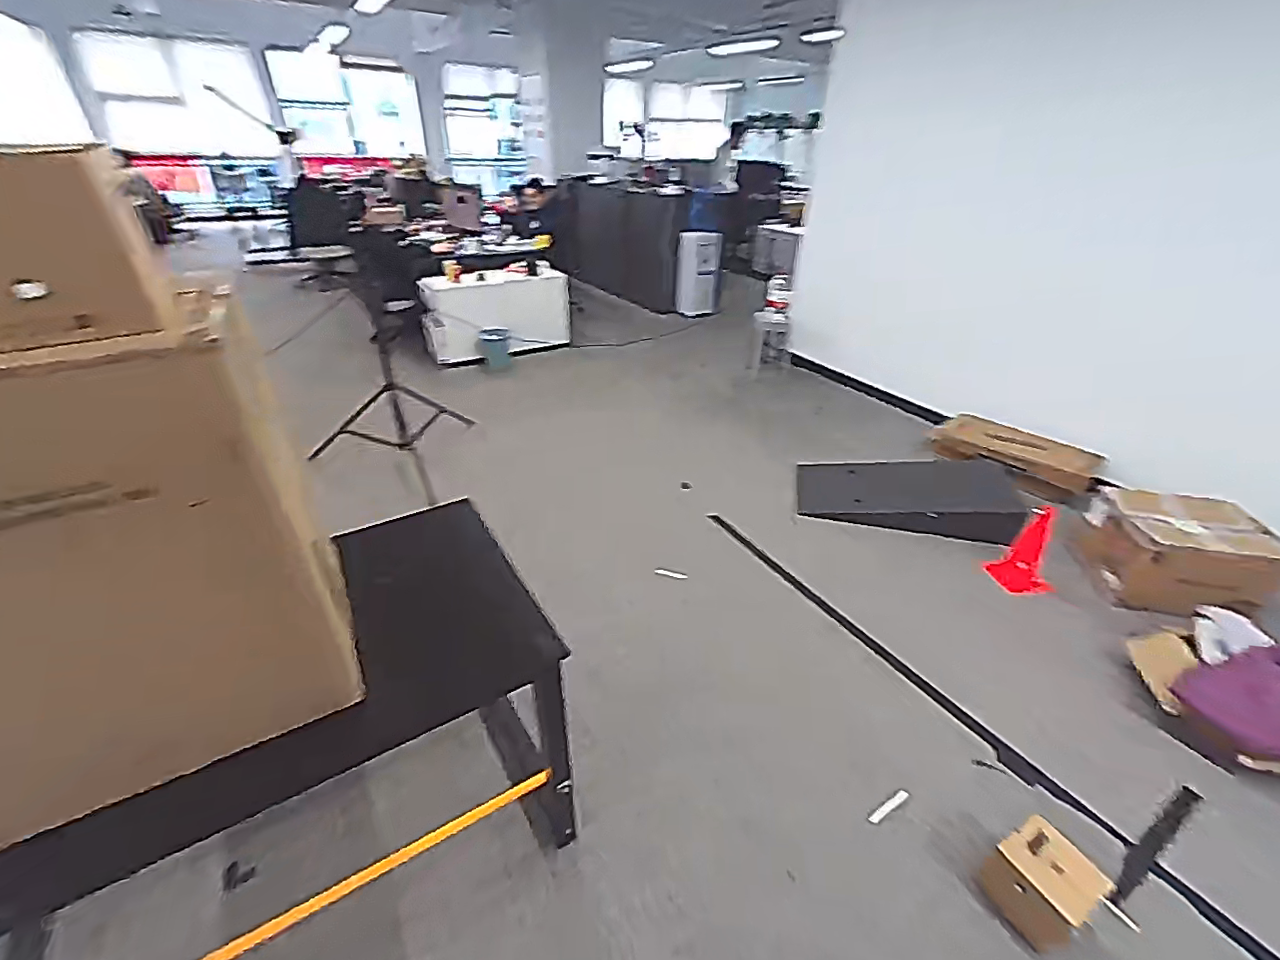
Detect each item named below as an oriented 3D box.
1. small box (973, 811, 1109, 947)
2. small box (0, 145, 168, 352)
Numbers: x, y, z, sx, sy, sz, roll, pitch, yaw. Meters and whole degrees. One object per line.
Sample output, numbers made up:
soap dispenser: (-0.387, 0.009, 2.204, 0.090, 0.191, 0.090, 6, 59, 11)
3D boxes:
small box: (0.939, 0.944, 1.282, 0.168, 0.176, 0.179, -16, 37, -24)
small box: (-0.624, -0.241, 0.554, 0.168, 0.176, 0.179, -21, 40, -28)
